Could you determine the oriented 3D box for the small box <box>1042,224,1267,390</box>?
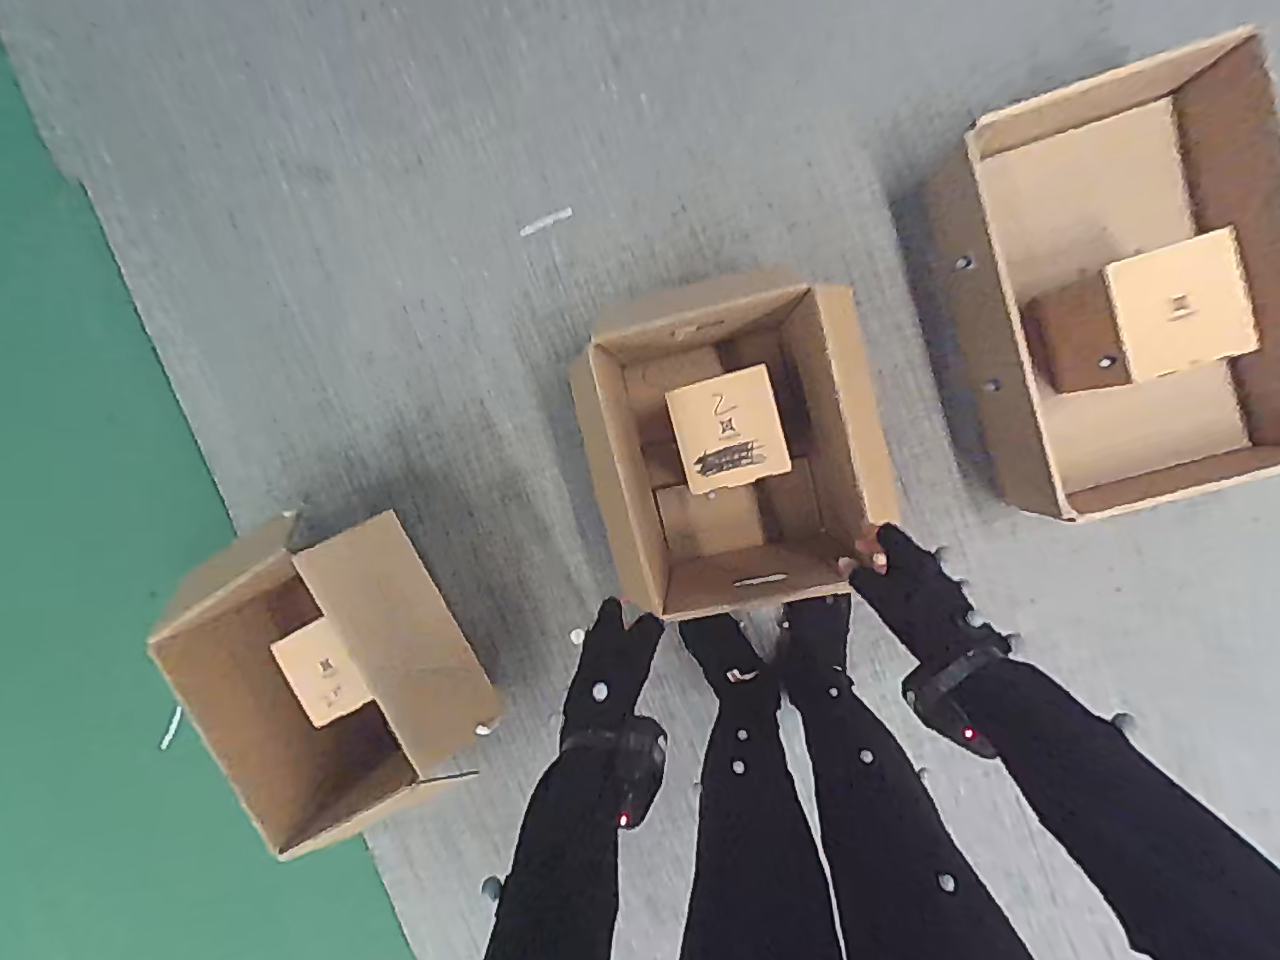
[{"bbox_3d":[0.759,-0.248,0.821,0.168,0.176,0.179,-17,93,8],"label":"small box"}]
